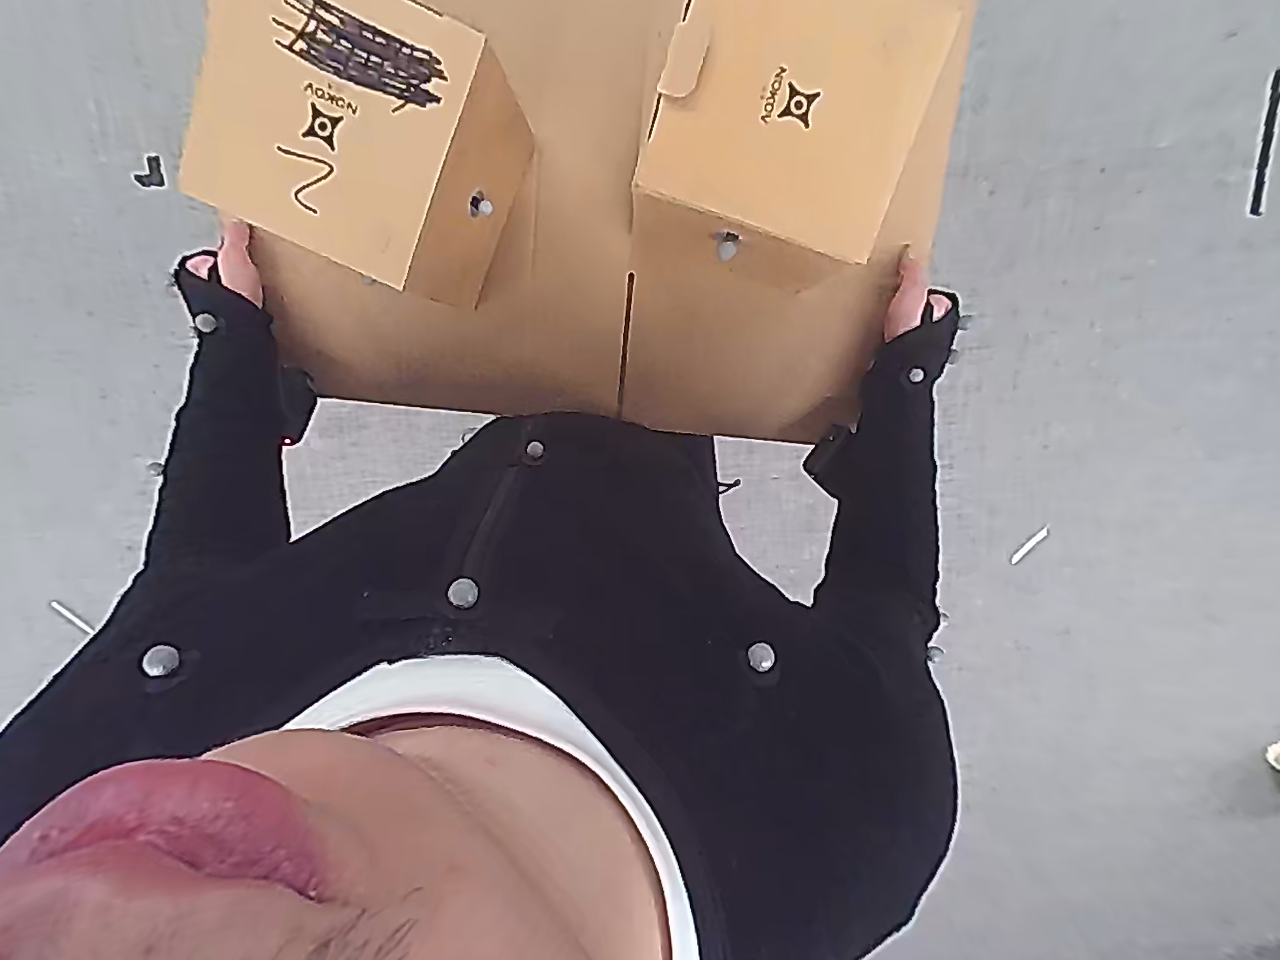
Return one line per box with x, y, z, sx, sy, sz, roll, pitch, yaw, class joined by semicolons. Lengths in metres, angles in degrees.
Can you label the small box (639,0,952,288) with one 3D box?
0.108;-0.274;0.455;0.179;0.176;0.168;18;101;-2;small box
